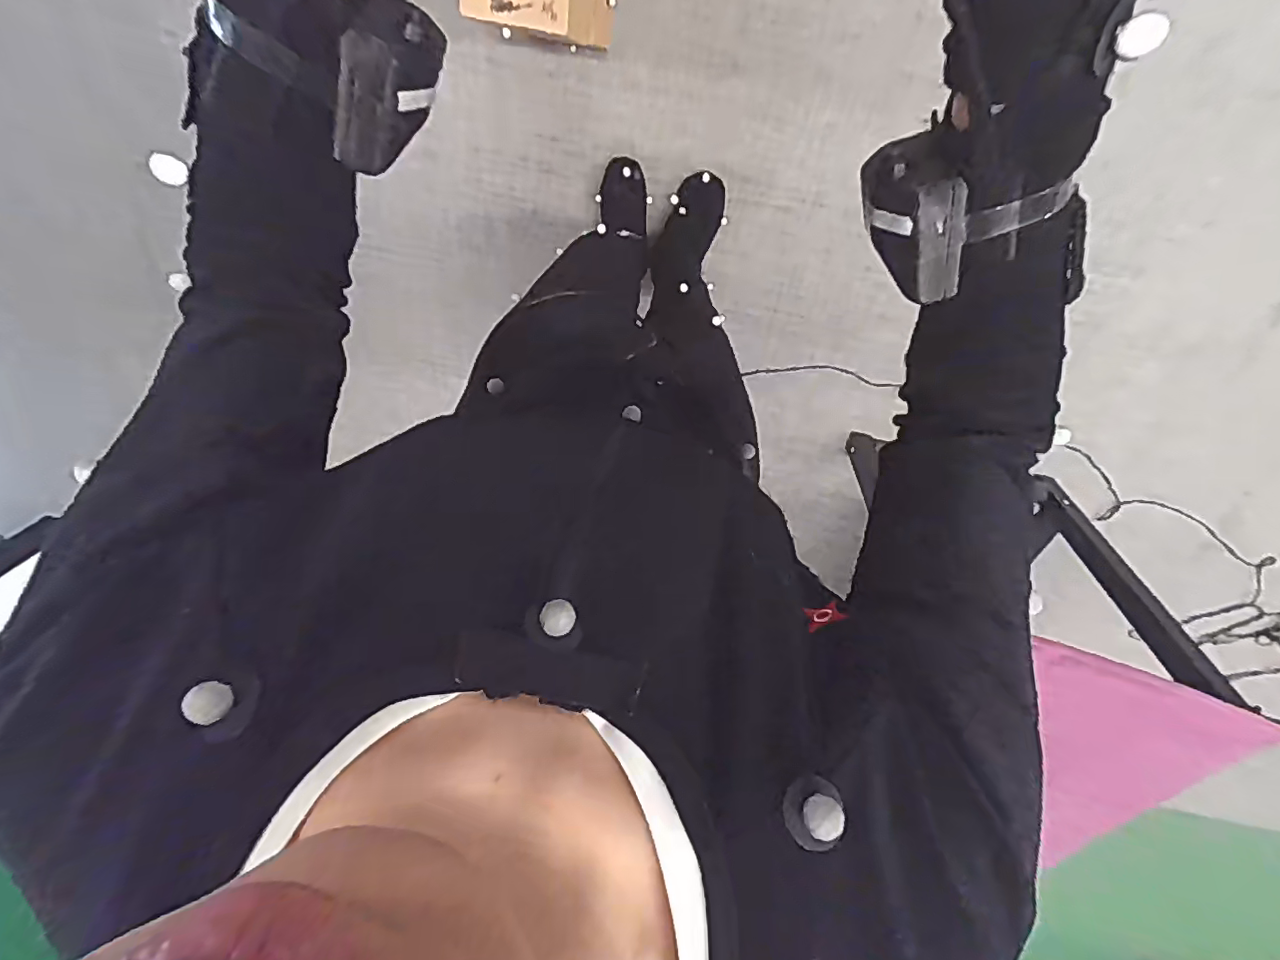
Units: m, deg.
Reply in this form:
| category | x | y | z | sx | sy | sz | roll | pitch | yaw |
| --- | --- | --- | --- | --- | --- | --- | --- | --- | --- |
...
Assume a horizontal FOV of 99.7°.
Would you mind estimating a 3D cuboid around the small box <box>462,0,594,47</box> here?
| category | x | y | z | sx | sy | sz | roll | pitch | yaw |
| --- | --- | --- | --- | --- | --- | --- | --- | --- | --- |
| small box | -0.161 | -0.793 | 0.822 | 0.168 | 0.176 | 0.179 | 12 | 125 | 0 |

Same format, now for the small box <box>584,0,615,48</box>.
| category | x | y | z | sx | sy | sz | roll | pitch | yaw |
| --- | --- | --- | --- | --- | --- | --- | --- | --- | --- |
| small box | -0.140 | -0.887 | 0.956 | 0.179 | 0.176 | 0.168 | 12 | 126 | 0 |
